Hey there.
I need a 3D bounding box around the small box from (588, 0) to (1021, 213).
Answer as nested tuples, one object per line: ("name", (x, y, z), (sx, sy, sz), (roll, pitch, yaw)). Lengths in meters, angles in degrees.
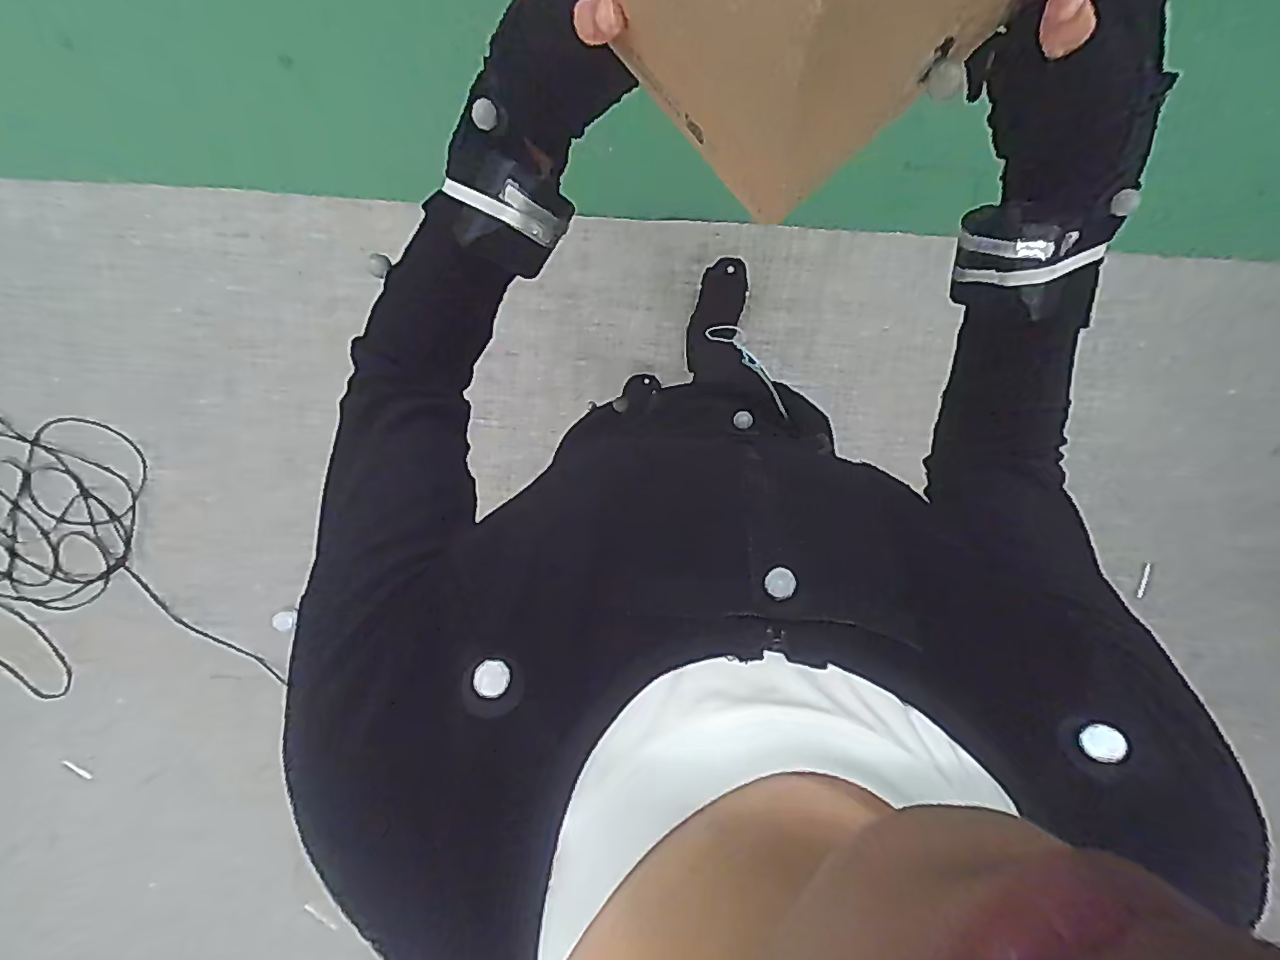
("small box", (0.072, -0.243, 0.196), (0.179, 0.176, 0.168), (-39, 90, 10))
